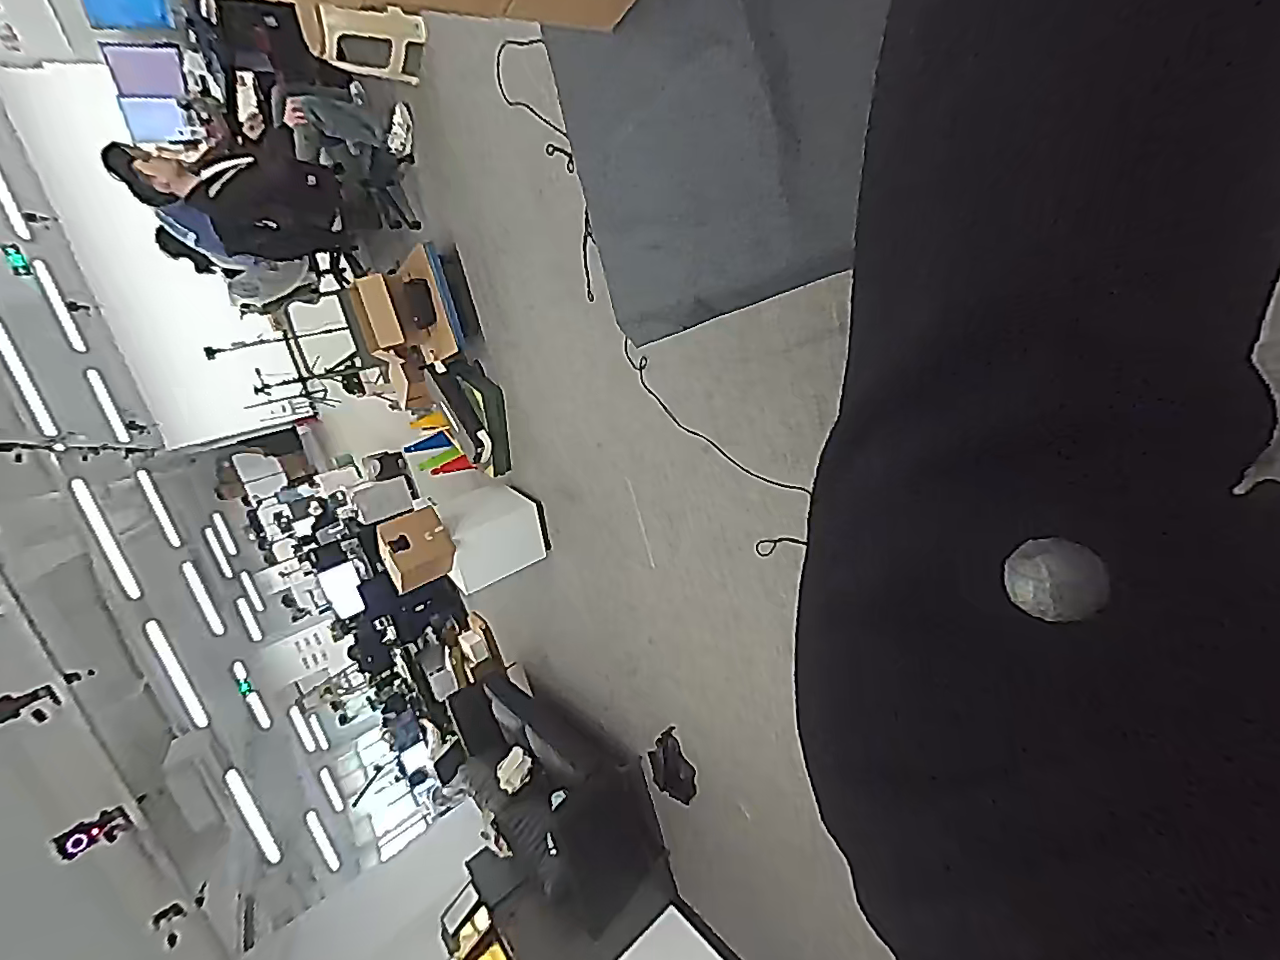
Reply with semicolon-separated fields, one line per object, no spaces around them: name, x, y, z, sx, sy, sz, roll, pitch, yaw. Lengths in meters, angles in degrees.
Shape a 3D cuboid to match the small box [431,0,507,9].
small box;-0.196;-0.596;0.513;0.179;0.176;0.168;-2;111;54
